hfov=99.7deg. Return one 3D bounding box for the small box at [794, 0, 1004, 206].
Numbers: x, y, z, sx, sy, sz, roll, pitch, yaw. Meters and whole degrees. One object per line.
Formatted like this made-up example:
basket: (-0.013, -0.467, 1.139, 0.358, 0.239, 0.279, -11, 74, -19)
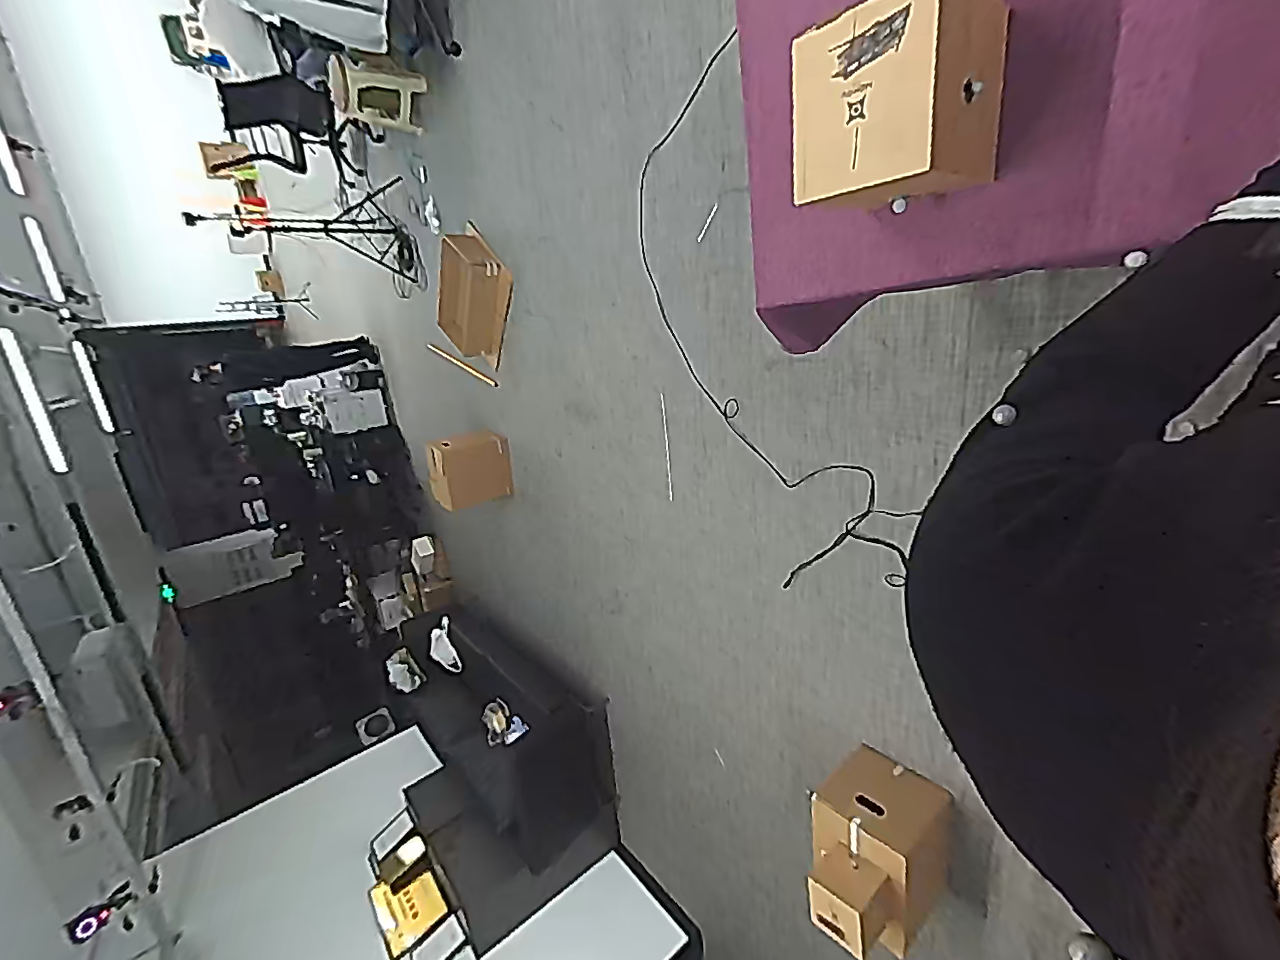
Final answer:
small box: (0.298, -0.432, 0.629, 0.168, 0.176, 0.179, 15, 117, 49)
